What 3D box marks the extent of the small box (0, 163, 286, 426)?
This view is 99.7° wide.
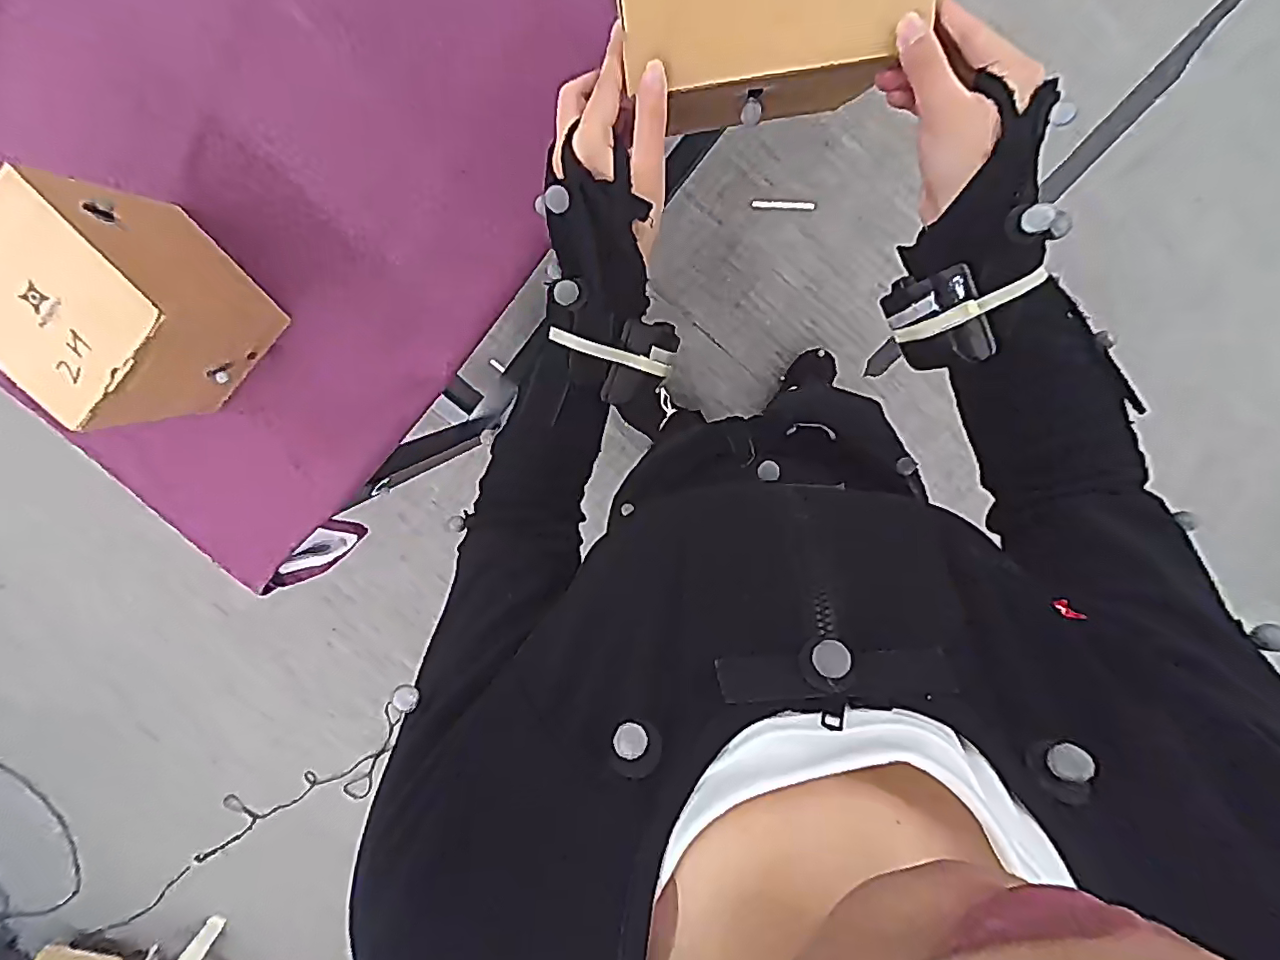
[{"bbox_3d":[-0.537,-0.181,0.571,0.168,0.176,0.179,-41,98,13],"label":"small box"}]
